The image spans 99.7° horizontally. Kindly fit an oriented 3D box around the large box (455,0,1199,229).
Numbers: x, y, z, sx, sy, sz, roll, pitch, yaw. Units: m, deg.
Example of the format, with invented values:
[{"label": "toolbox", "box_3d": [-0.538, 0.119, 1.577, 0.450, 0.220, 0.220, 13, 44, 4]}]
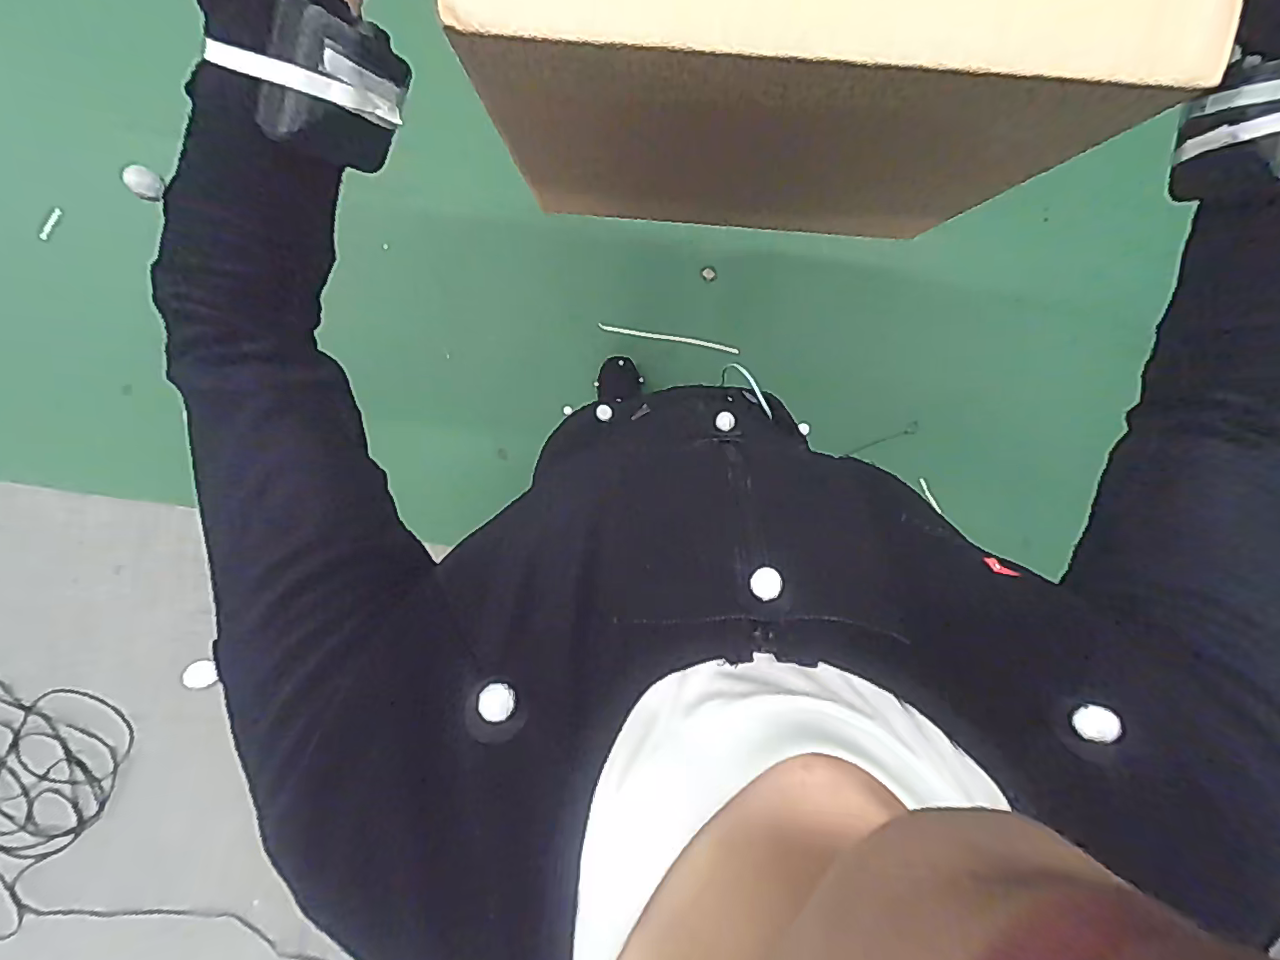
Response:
[{"label": "large box", "box_3d": [0.101, -0.401, 0.410, 0.408, 0.320, 0.320, 3, 101, -1]}]
